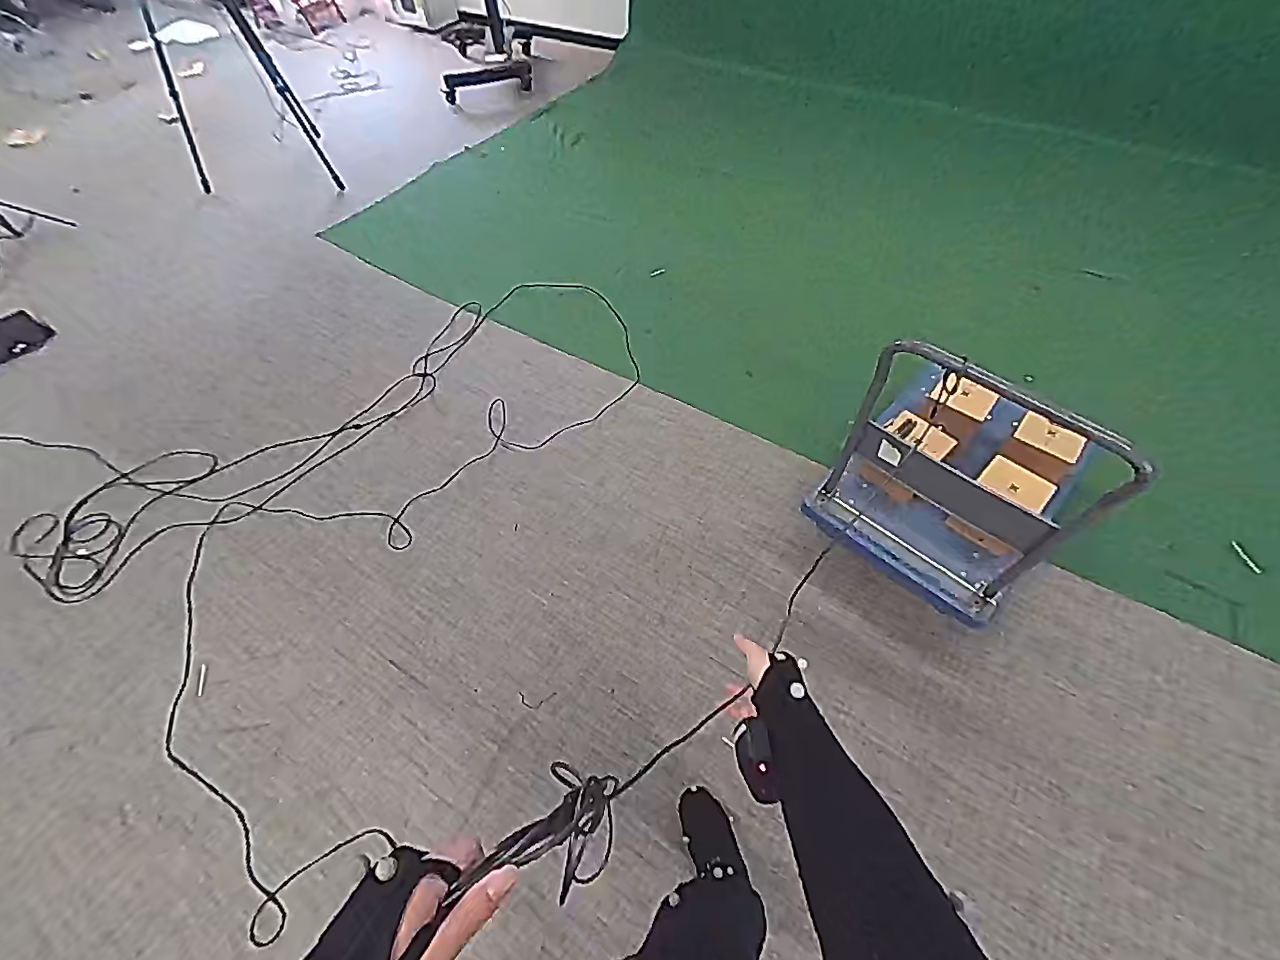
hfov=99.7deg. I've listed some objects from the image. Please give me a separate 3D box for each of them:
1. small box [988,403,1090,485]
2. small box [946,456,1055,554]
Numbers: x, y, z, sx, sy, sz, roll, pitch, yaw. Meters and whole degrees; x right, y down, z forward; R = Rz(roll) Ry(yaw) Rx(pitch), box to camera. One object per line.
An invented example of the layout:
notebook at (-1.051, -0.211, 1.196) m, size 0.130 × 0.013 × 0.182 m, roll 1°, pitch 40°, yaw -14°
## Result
small box at (1.191, -0.091, 1.626) m, size 0.168 × 0.176 × 0.179 m, roll 34°, pitch 64°, yaw 24°
small box at (1.004, 0.073, 1.521) m, size 0.168 × 0.176 × 0.179 m, roll 39°, pitch 65°, yaw 25°
